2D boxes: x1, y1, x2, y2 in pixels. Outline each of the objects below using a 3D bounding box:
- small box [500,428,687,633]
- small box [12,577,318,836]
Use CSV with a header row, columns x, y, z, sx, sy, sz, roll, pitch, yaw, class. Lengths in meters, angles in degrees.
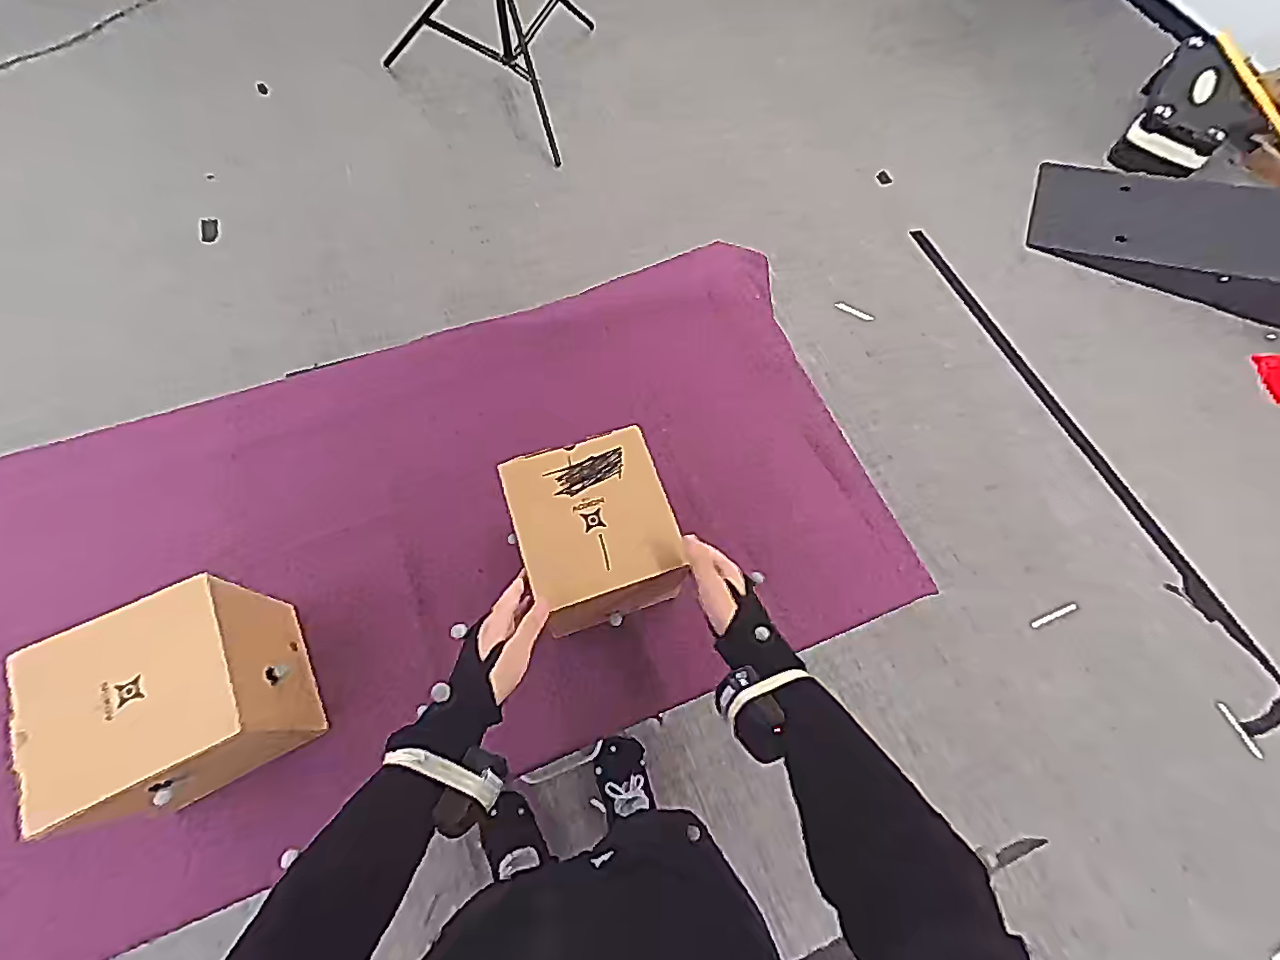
x,y,z,sx,sy,sz,roll,pitch,yaw,class
-0.057,0.068,0.653,0.168,0.176,0.179,-17,69,-9,small box
-0.471,0.226,0.567,0.179,0.176,0.168,-26,70,-13,small box
